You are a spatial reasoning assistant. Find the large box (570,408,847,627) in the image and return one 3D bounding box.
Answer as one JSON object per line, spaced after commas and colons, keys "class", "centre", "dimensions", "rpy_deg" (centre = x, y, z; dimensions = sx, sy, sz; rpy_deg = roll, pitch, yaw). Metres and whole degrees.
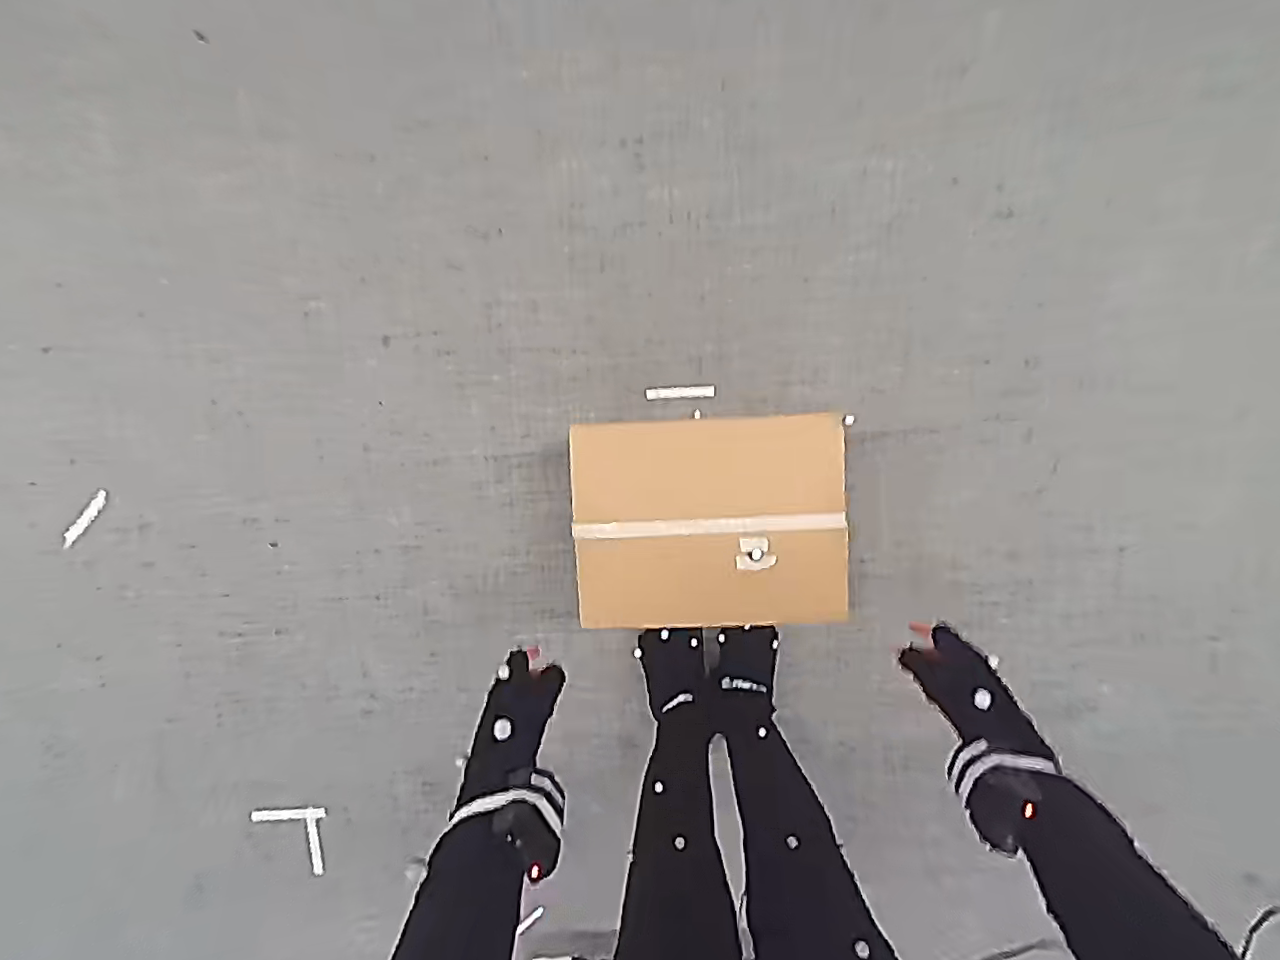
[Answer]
{"class": "large box", "centre": [0.107, 0.049, 0.954], "dimensions": [0.408, 0.320, 0.320], "rpy_deg": [-3, 95, 2]}
